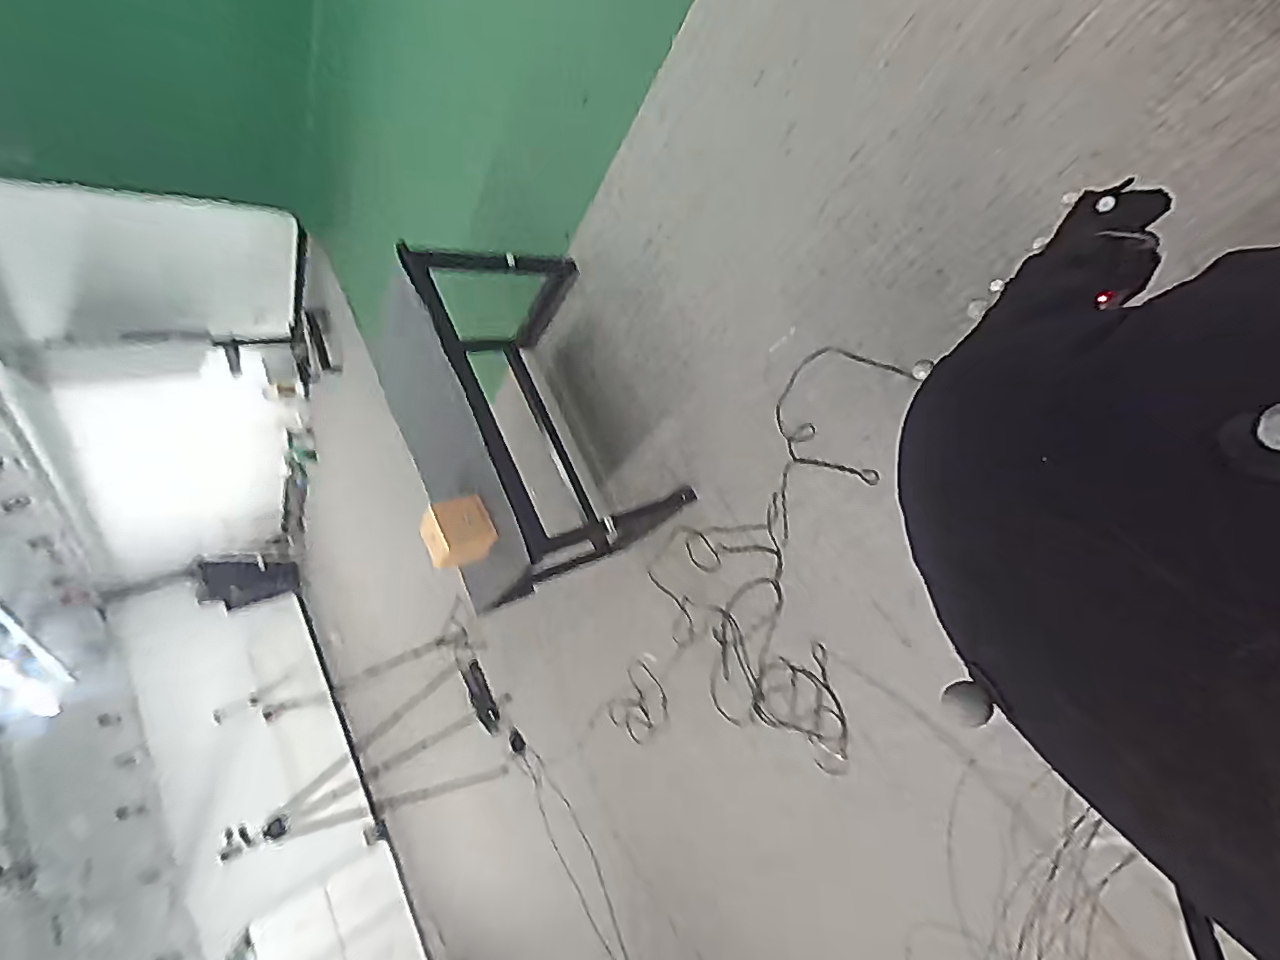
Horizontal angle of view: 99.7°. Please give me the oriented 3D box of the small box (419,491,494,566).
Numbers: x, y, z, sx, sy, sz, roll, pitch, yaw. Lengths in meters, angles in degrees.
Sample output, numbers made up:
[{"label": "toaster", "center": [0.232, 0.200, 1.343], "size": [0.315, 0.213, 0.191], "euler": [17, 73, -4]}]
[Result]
[{"label": "small box", "center": [-0.596, 0.154, 1.766], "size": [0.179, 0.176, 0.168], "euler": [-48, 65, 45]}]
